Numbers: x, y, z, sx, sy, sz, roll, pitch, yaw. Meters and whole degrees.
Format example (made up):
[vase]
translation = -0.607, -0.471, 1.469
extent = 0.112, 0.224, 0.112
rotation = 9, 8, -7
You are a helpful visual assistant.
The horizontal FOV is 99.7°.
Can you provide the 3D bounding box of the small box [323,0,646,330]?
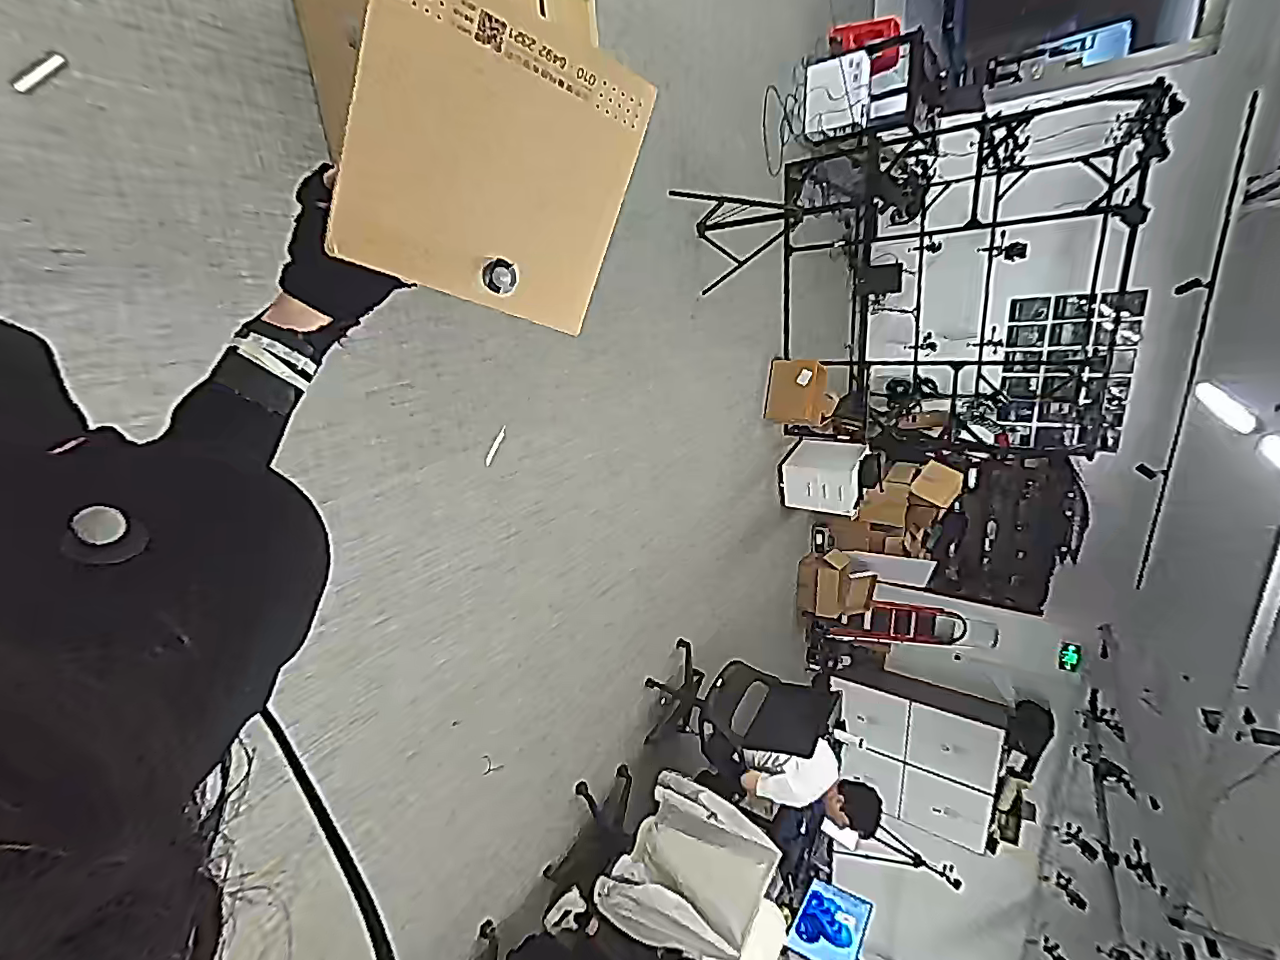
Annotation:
[small box]
translation = -0.116, -0.234, 0.398
extent = 0.168, 0.179, 0.176
rotation = 13, 110, -28
